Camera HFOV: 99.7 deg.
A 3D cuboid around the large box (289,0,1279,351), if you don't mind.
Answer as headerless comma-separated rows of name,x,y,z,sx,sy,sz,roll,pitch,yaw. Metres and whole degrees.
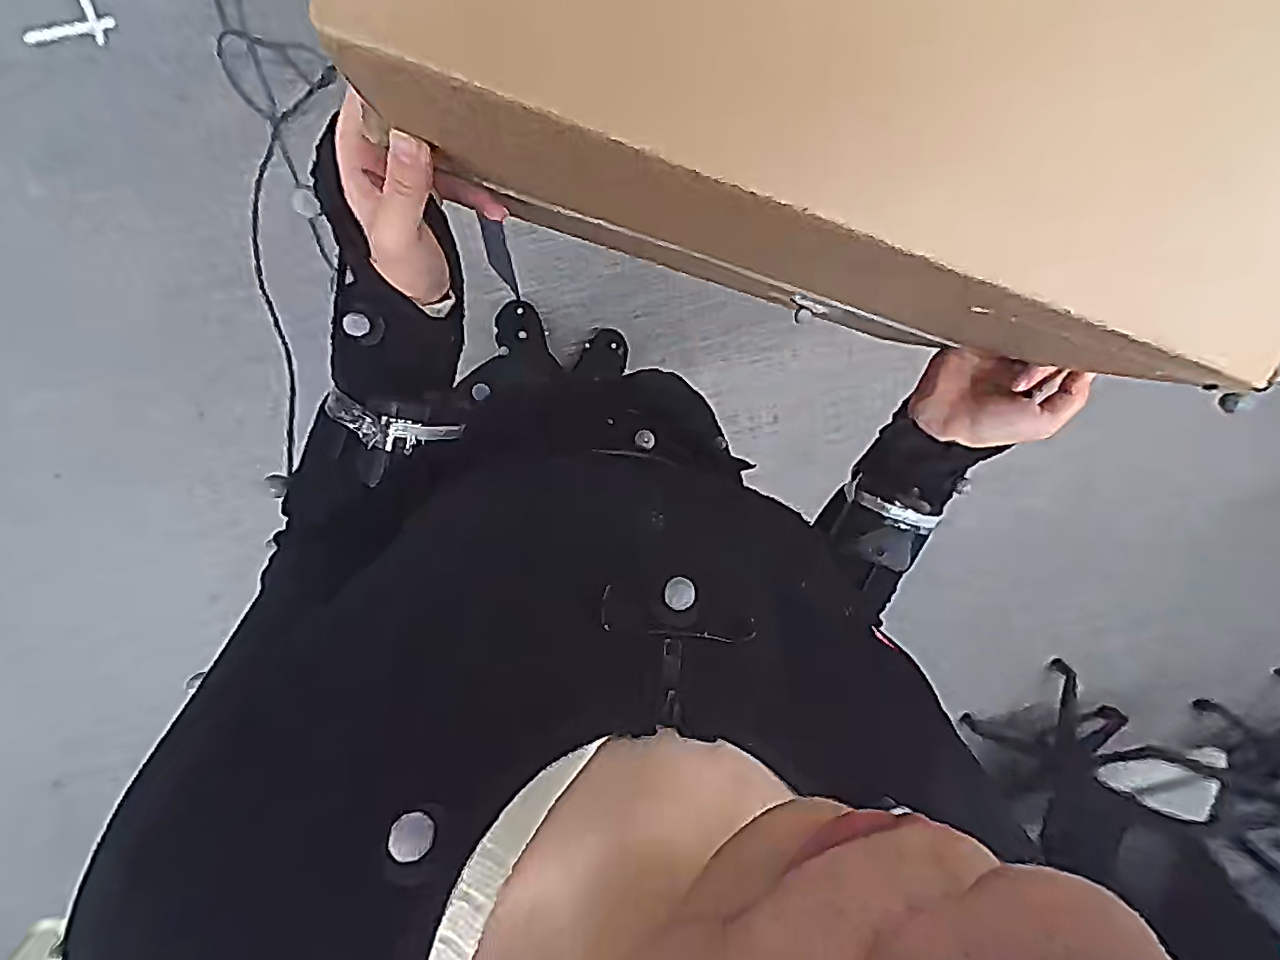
large box,0.103,-0.281,0.283,0.408,0.320,0.320,10,108,-14
